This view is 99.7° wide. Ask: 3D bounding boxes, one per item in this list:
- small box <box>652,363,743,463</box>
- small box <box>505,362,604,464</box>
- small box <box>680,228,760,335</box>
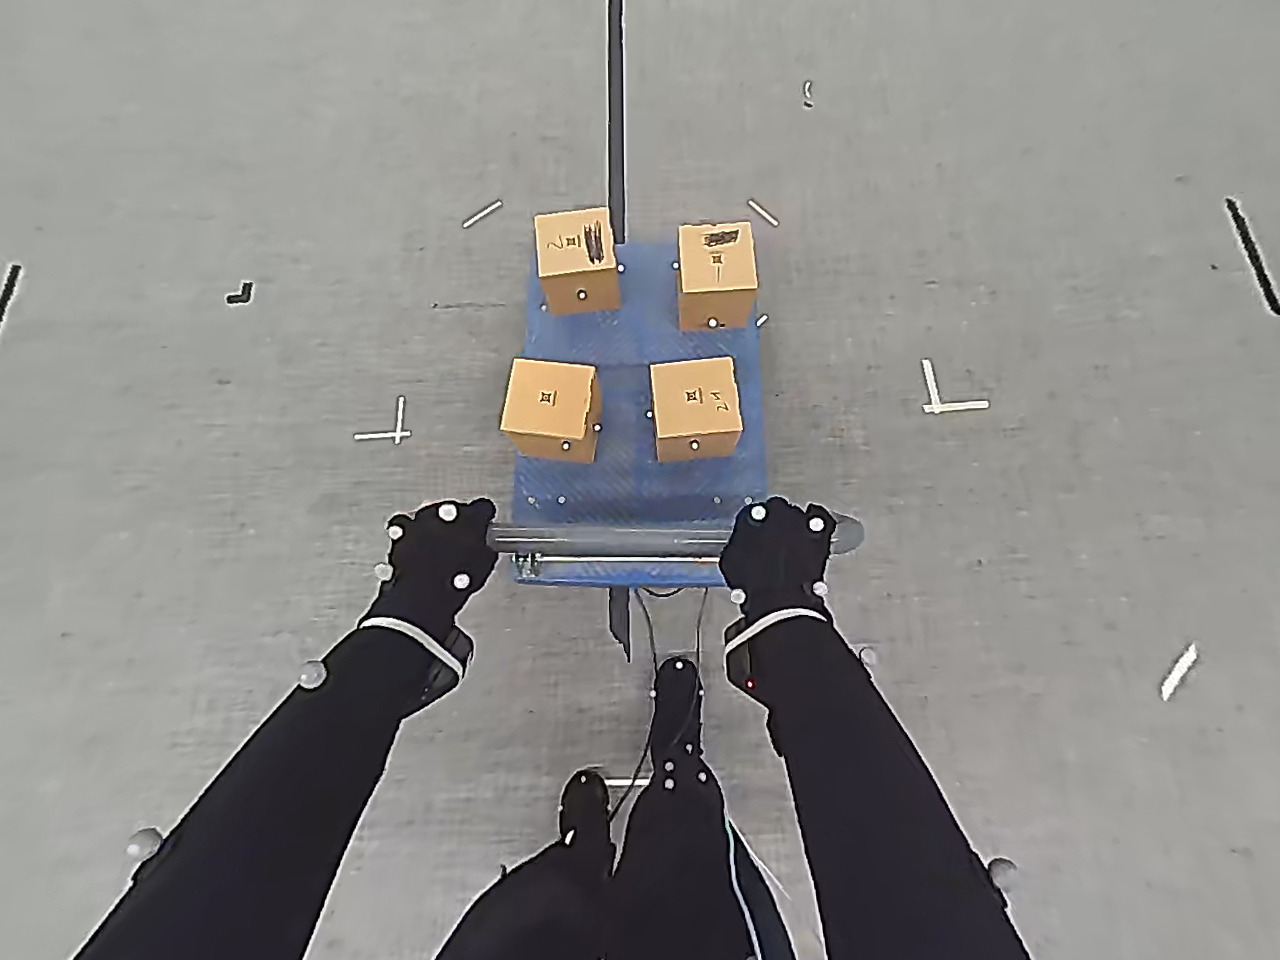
[{"bbox_3d":[0.122,-0.140,1.193,0.179,0.176,0.168,-5,75,1],"label":"small box"},{"bbox_3d":[-0.182,-0.142,1.204,0.179,0.176,0.168,7,74,2],"label":"small box"},{"bbox_3d":[0.182,-0.464,1.280,0.168,0.176,0.179,-2,75,2],"label":"small box"}]
